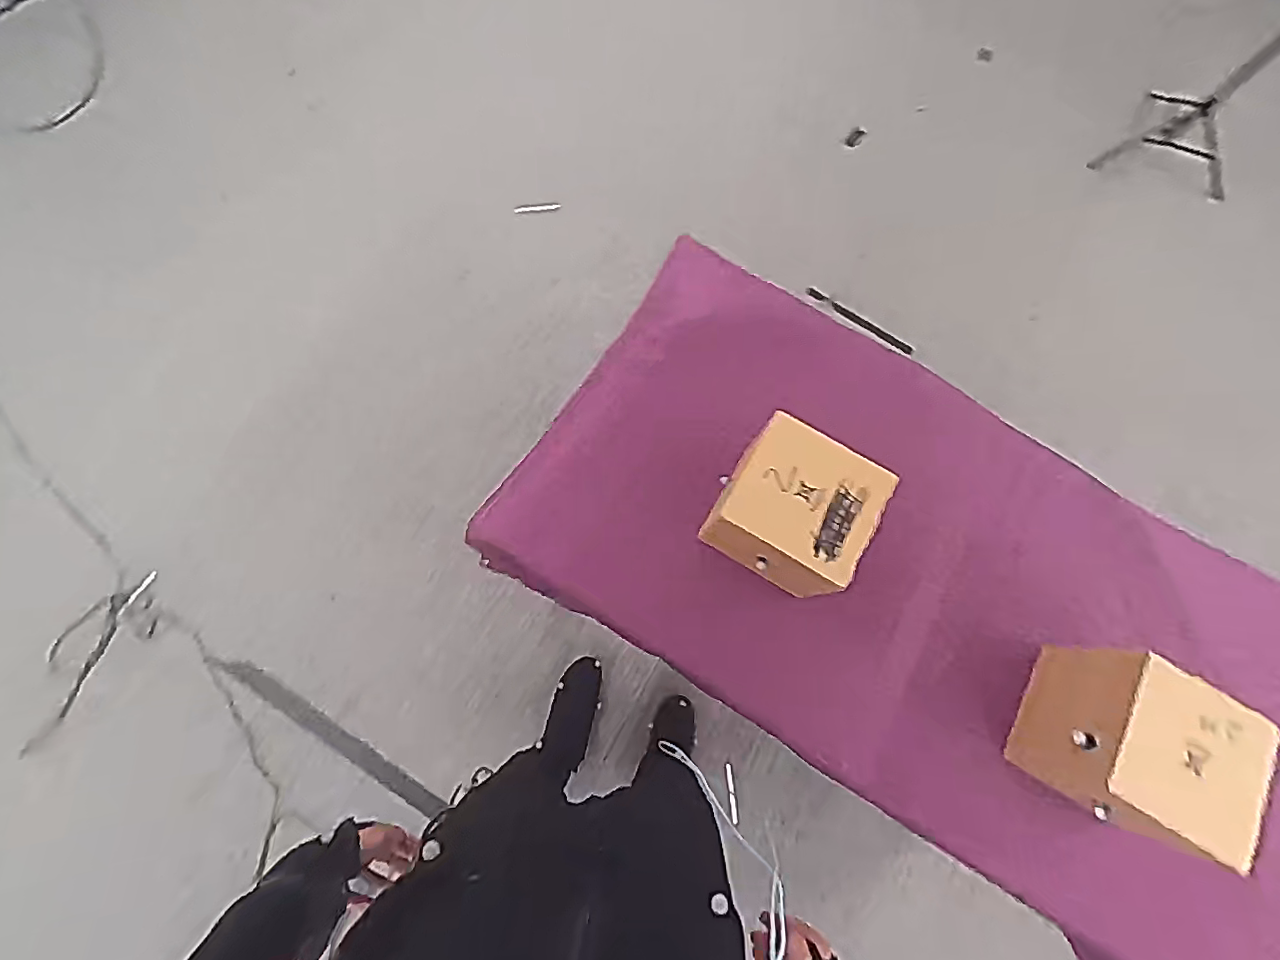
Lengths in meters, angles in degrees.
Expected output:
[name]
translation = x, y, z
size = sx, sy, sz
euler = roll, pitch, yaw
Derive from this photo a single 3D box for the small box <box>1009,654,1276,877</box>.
[small box]
translation = 0.625, 0.345, 0.696
size = 0.168, 0.176, 0.179
euler = 33, 75, 5
